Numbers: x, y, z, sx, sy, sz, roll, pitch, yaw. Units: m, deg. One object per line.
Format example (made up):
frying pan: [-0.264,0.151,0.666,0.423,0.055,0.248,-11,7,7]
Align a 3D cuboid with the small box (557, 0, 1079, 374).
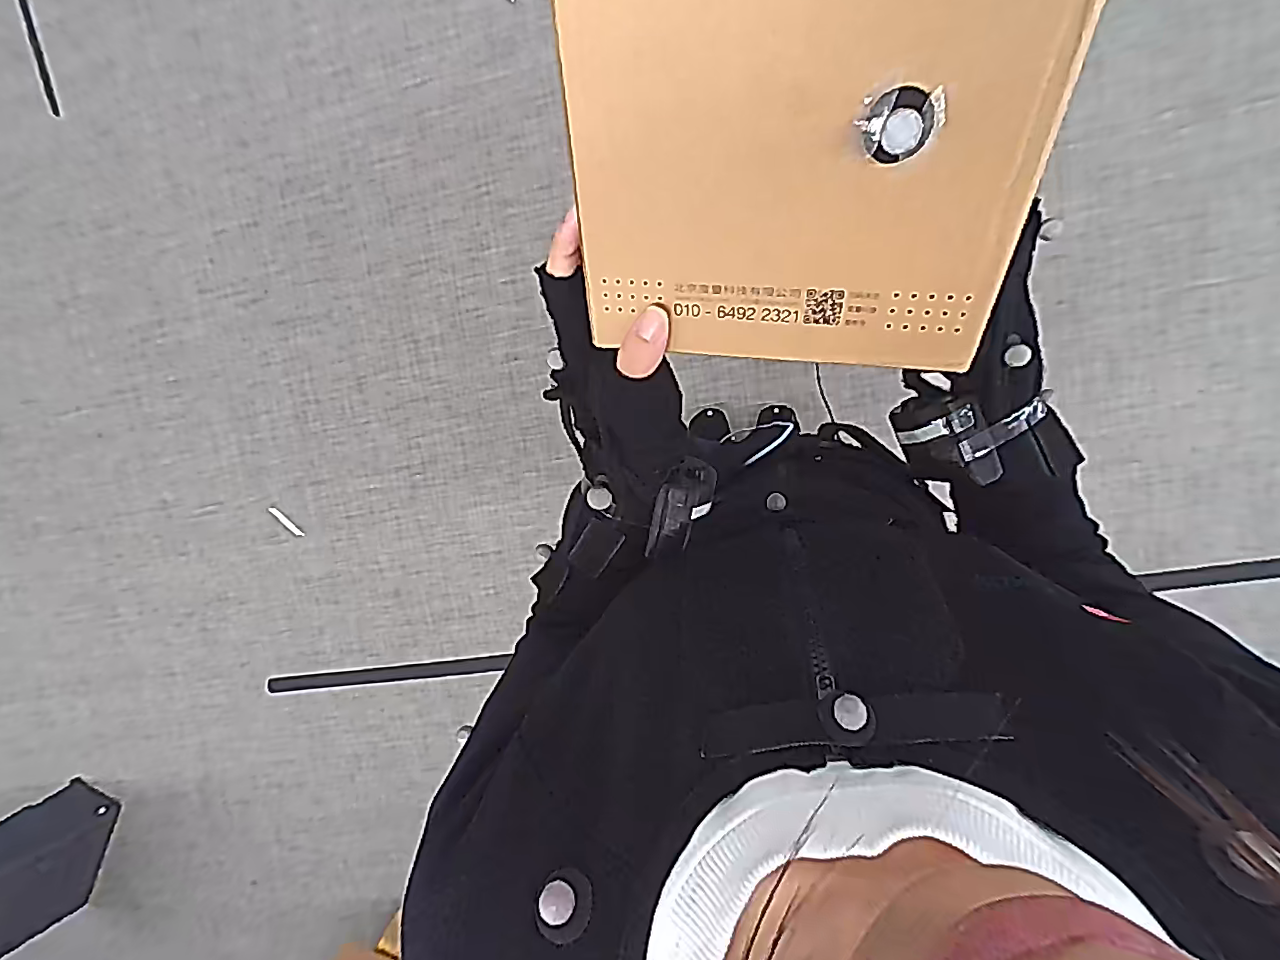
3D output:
small box: [0.077,-0.166,0.259,0.168,0.179,0.176,8,131,14]
